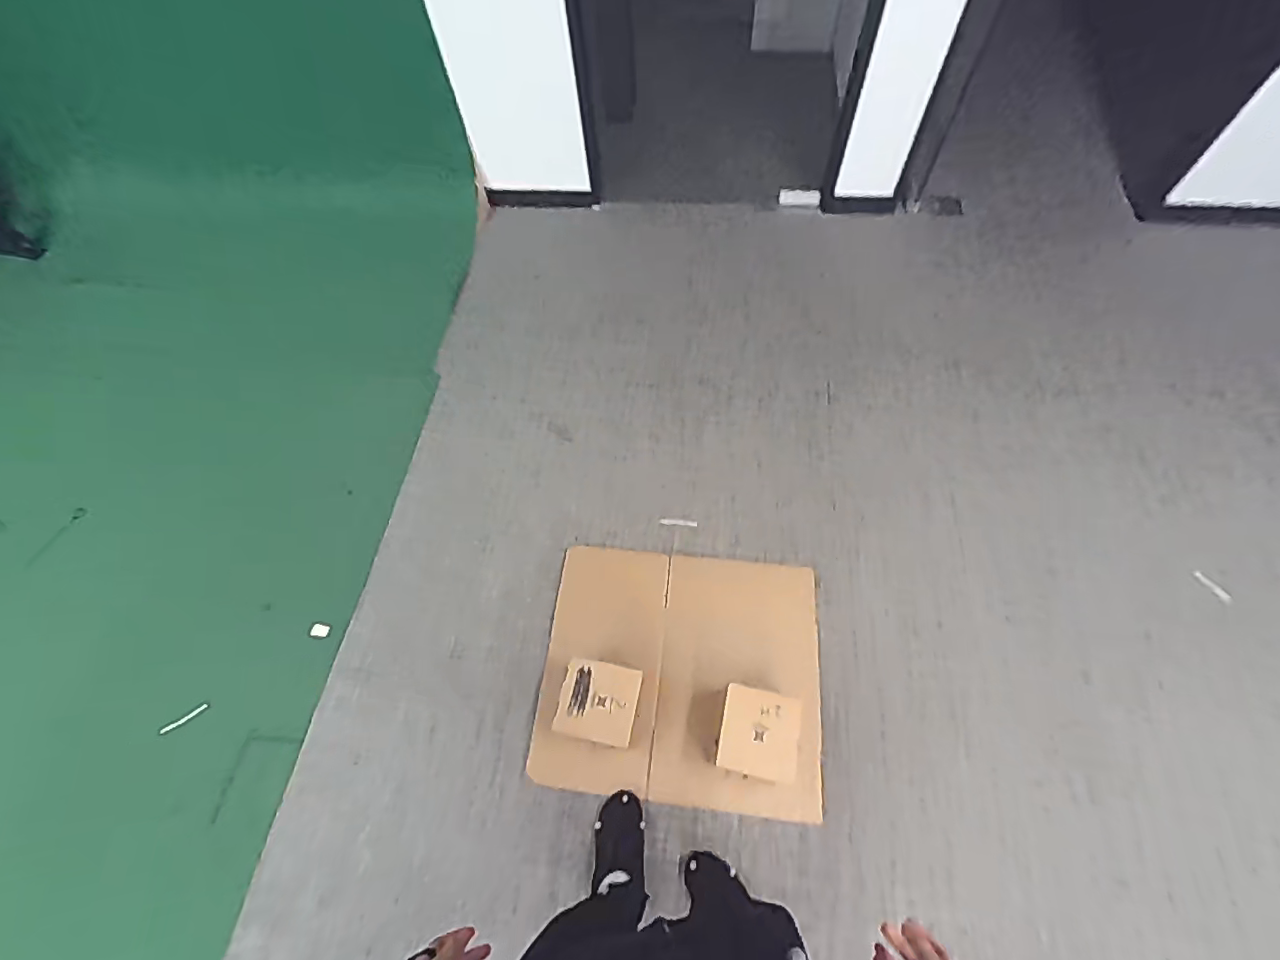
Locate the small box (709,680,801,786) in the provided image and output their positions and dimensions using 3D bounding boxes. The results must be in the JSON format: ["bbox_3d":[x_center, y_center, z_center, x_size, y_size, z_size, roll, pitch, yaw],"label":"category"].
[{"bbox_3d":[0.255,0.573,1.225,0.168,0.176,0.179,12,62,8],"label":"small box"}]
